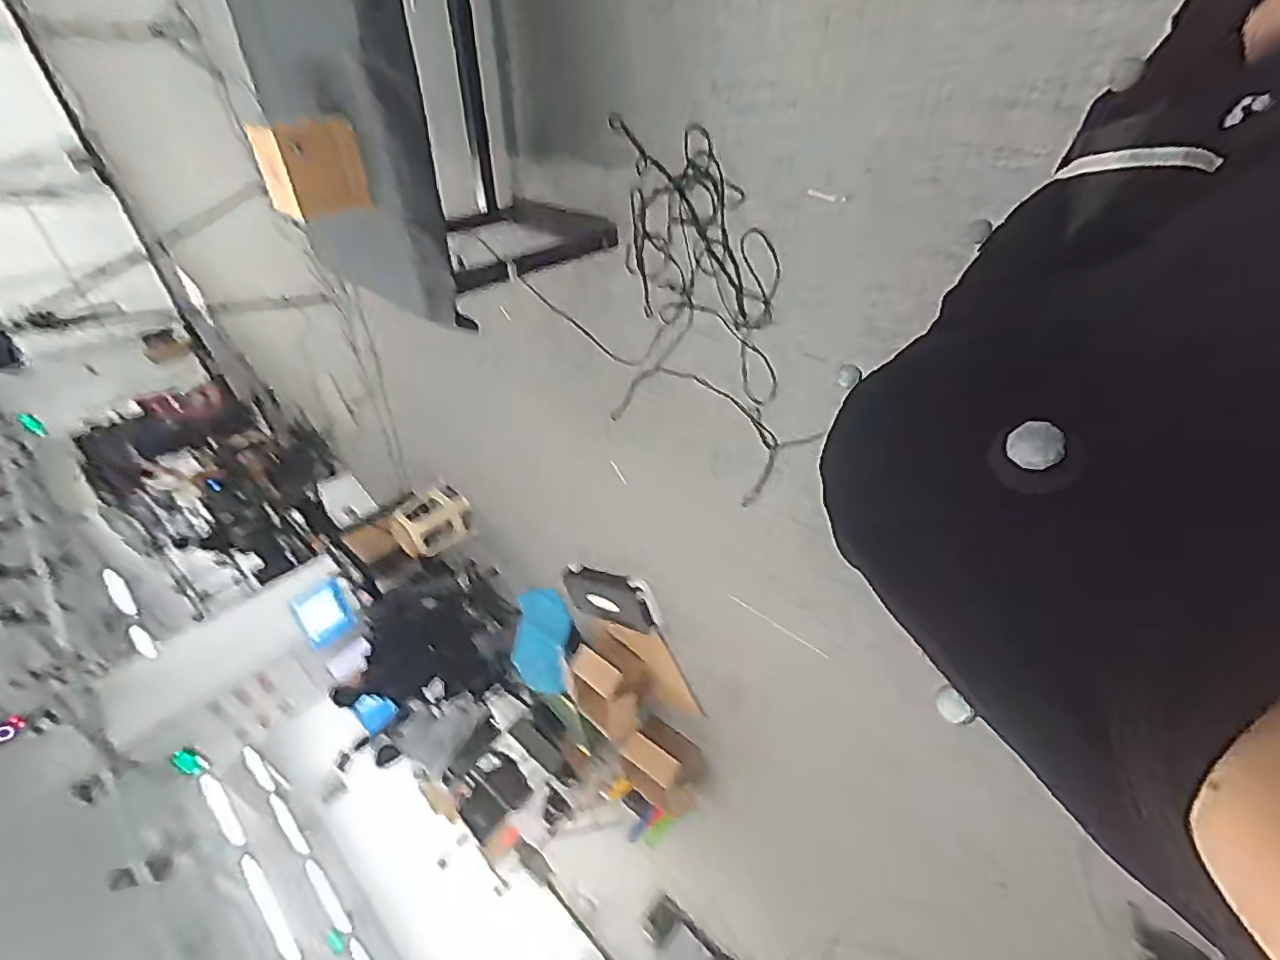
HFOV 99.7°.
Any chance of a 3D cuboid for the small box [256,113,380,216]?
[{"bbox_3d":[-0.725,-0.724,1.234,0.168,0.176,0.179,30,137,32],"label":"small box"}]
